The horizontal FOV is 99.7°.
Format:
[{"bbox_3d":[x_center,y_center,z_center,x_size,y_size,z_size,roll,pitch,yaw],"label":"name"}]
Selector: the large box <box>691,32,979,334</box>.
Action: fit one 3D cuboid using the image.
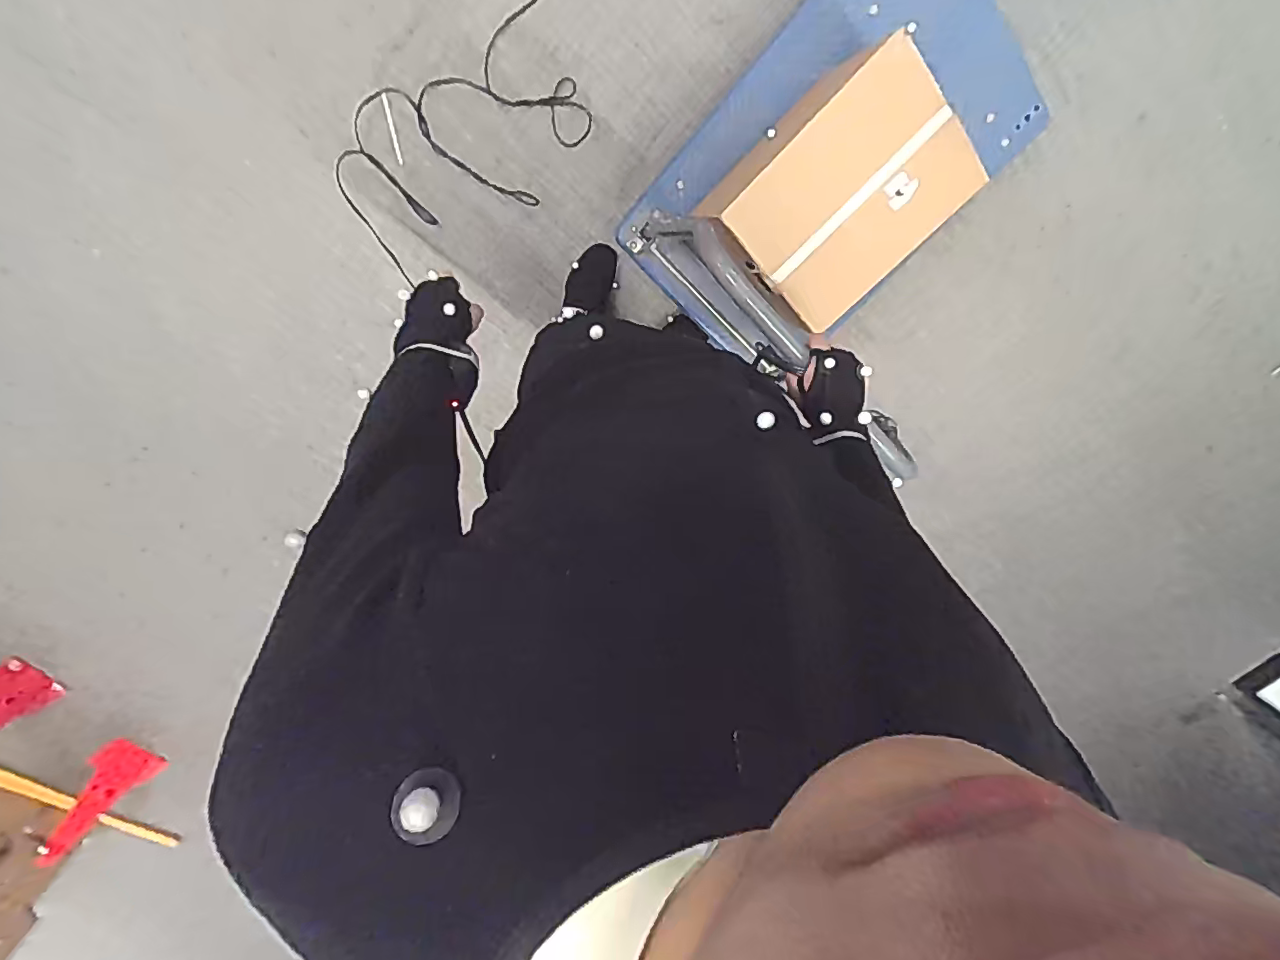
[{"bbox_3d":[0.370,-0.578,1.126,0.408,0.320,0.320,-43,113,14],"label":"large box"}]
